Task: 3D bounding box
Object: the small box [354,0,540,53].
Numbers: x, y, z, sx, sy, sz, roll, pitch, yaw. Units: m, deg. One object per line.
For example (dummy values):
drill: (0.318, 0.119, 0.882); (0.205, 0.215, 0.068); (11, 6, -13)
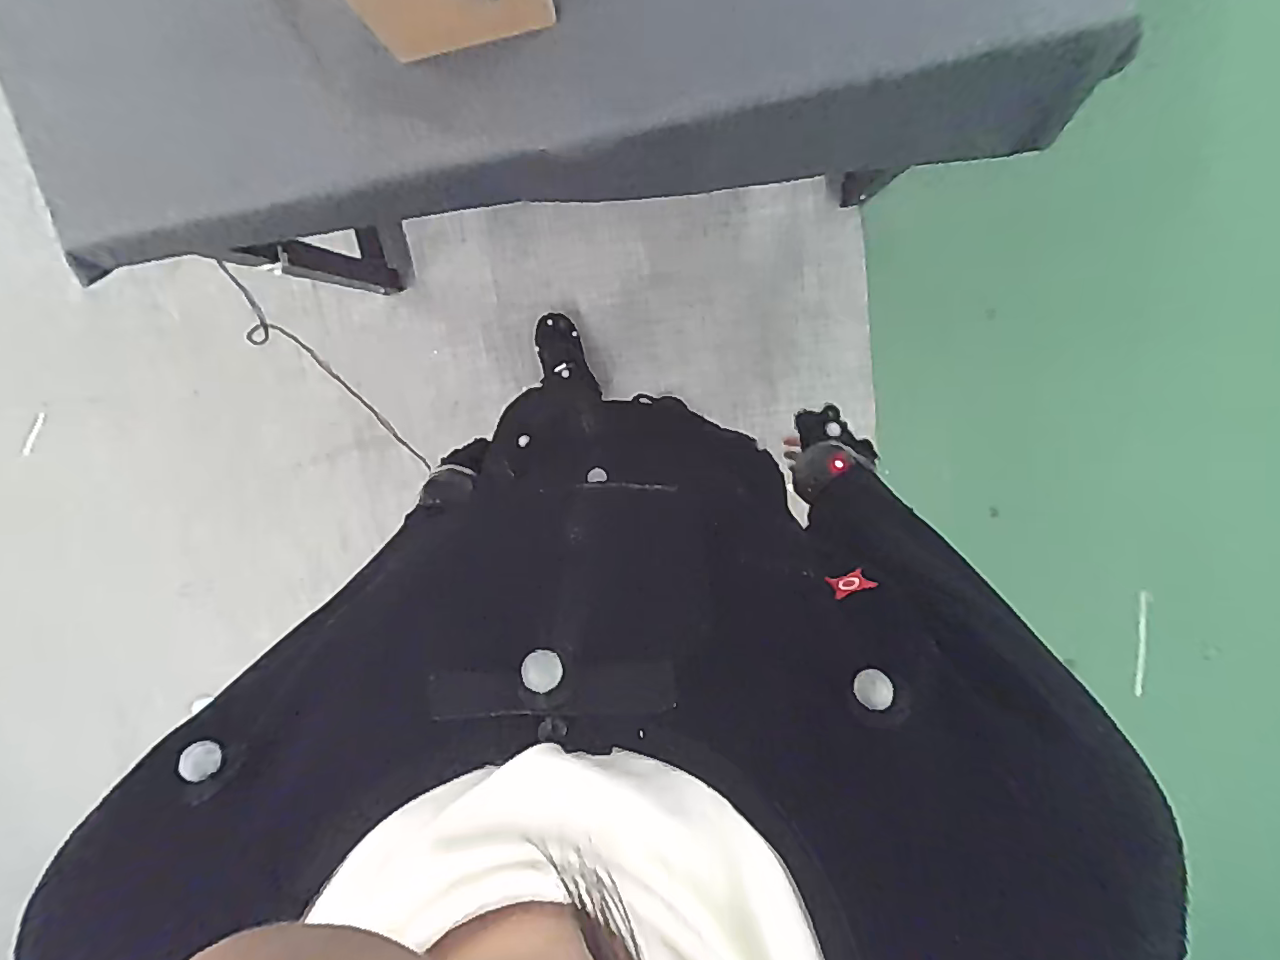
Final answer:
small box: (-0.194, -0.533, 0.485); (0.179, 0.176, 0.168); (-10, 101, 6)
